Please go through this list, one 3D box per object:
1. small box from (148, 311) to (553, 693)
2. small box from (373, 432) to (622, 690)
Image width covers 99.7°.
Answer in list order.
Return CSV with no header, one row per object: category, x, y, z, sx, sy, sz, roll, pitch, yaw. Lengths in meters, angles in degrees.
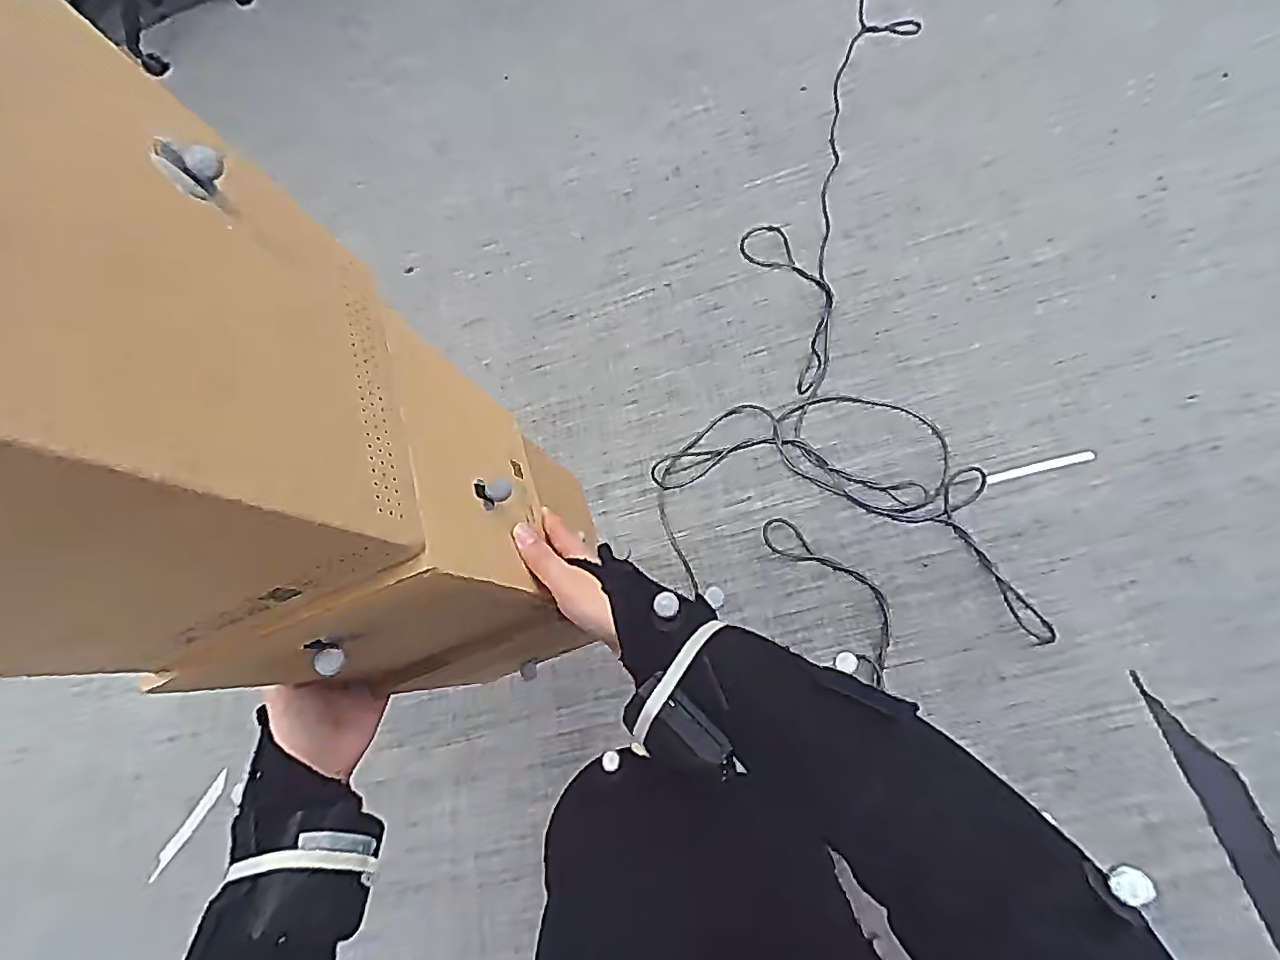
small box,-0.175,0.027,0.366,0.179,0.176,0.168,-24,68,9
small box,-0.135,0.083,0.513,0.168,0.176,0.179,-23,69,8
